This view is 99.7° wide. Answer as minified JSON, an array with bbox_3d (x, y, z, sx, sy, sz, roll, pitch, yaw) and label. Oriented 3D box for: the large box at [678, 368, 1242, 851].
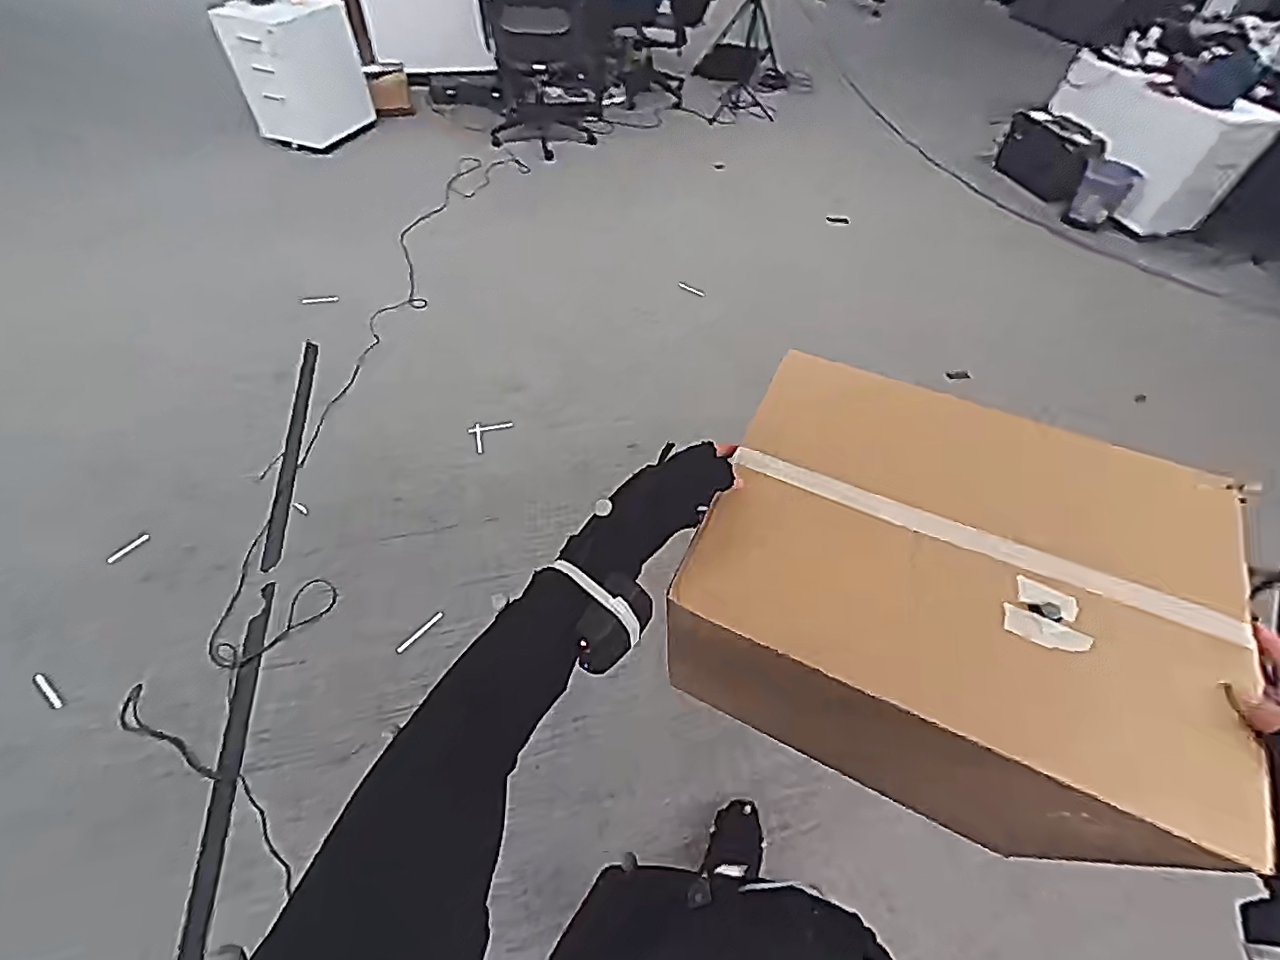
[{"bbox_3d":[0.282,0.138,0.596,0.408,0.320,0.320,22,62,16],"label":"large box"}]
